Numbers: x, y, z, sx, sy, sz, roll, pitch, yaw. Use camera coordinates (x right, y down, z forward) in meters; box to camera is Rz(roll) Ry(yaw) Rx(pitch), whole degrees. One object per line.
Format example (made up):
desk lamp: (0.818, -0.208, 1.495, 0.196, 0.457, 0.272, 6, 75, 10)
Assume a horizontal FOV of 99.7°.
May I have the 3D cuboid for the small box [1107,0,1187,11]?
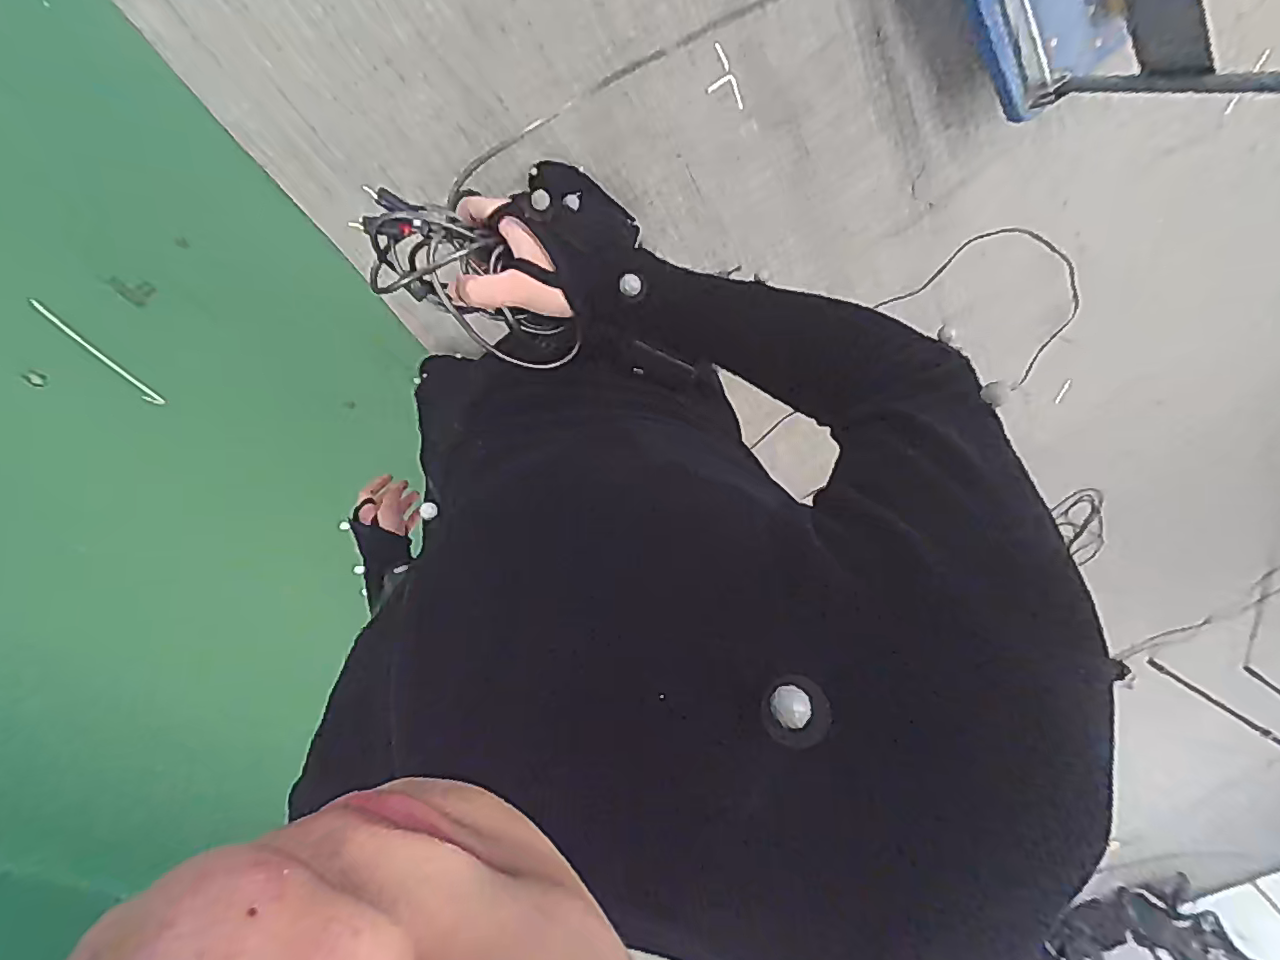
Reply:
small box: (1.009, -1.022, 0.996, 0.179, 0.176, 0.168, -37, 122, 16)
